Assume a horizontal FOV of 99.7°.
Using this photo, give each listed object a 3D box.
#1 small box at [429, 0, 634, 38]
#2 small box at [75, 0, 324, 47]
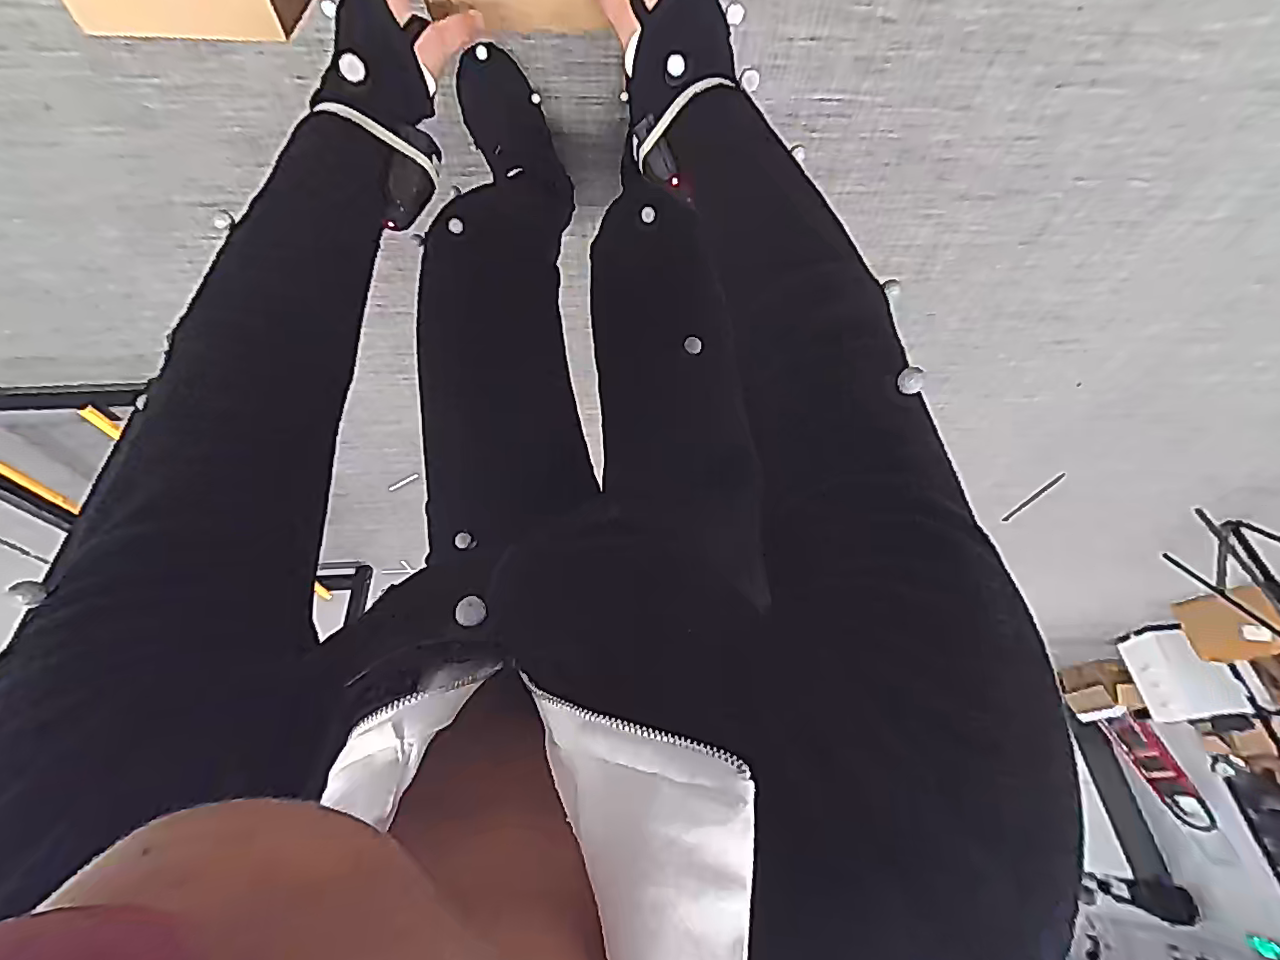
[{"bbox_3d":[-0.096,-0.504,0.452,0.179,0.176,0.168,-4,149,-2],"label":"small box"},{"bbox_3d":[-0.380,-0.493,0.437,0.168,0.176,0.179,-1,150,-4],"label":"small box"}]
